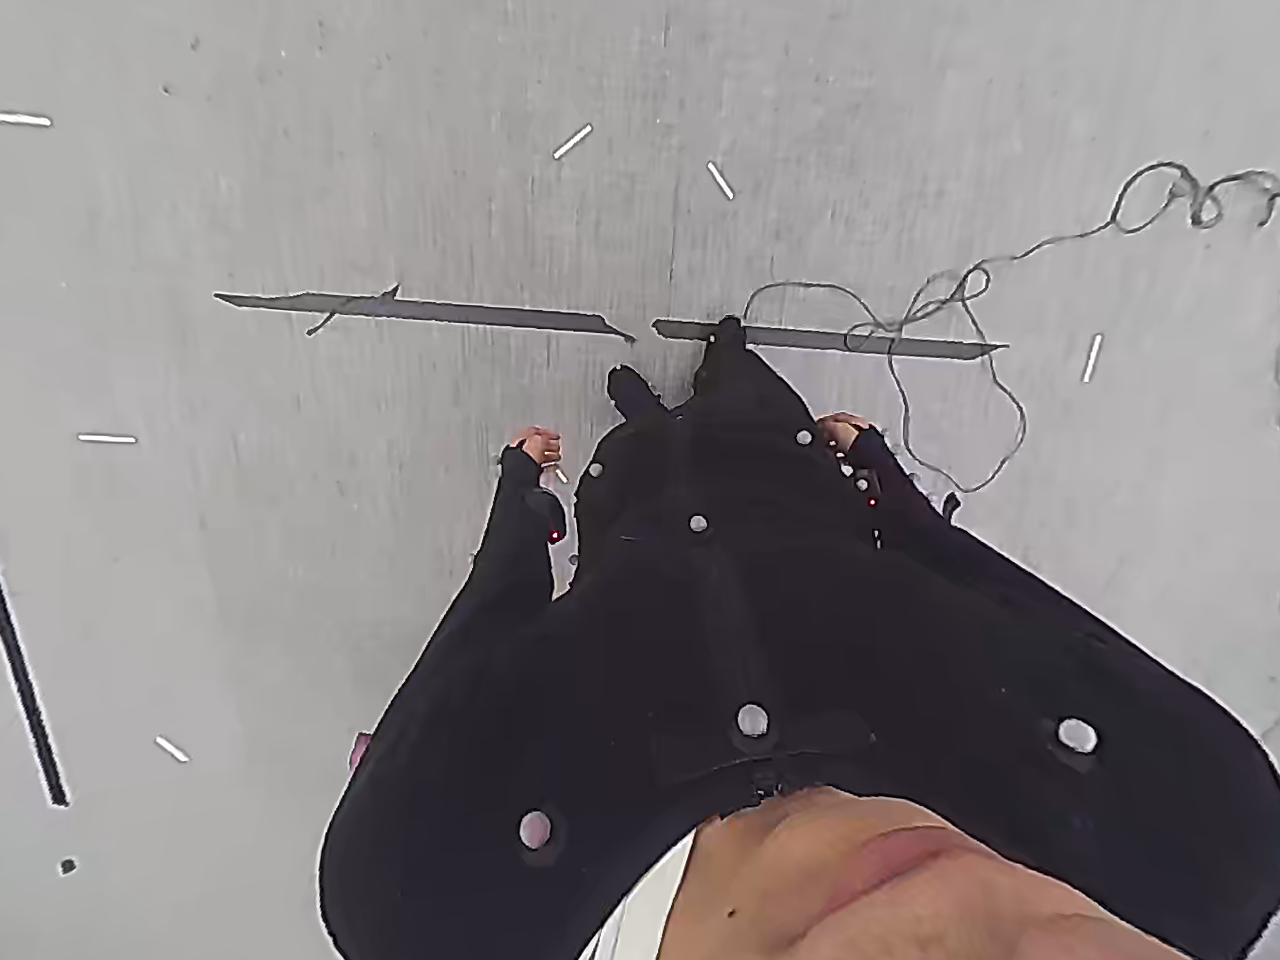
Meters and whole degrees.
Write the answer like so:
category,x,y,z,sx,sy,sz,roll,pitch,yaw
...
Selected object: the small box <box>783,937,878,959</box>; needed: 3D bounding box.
category,x,y,z,sx,sy,sz,roll,pitch,yaw
small box,0.340,0.917,0.904,0.168,0.176,0.179,-3,106,-2
